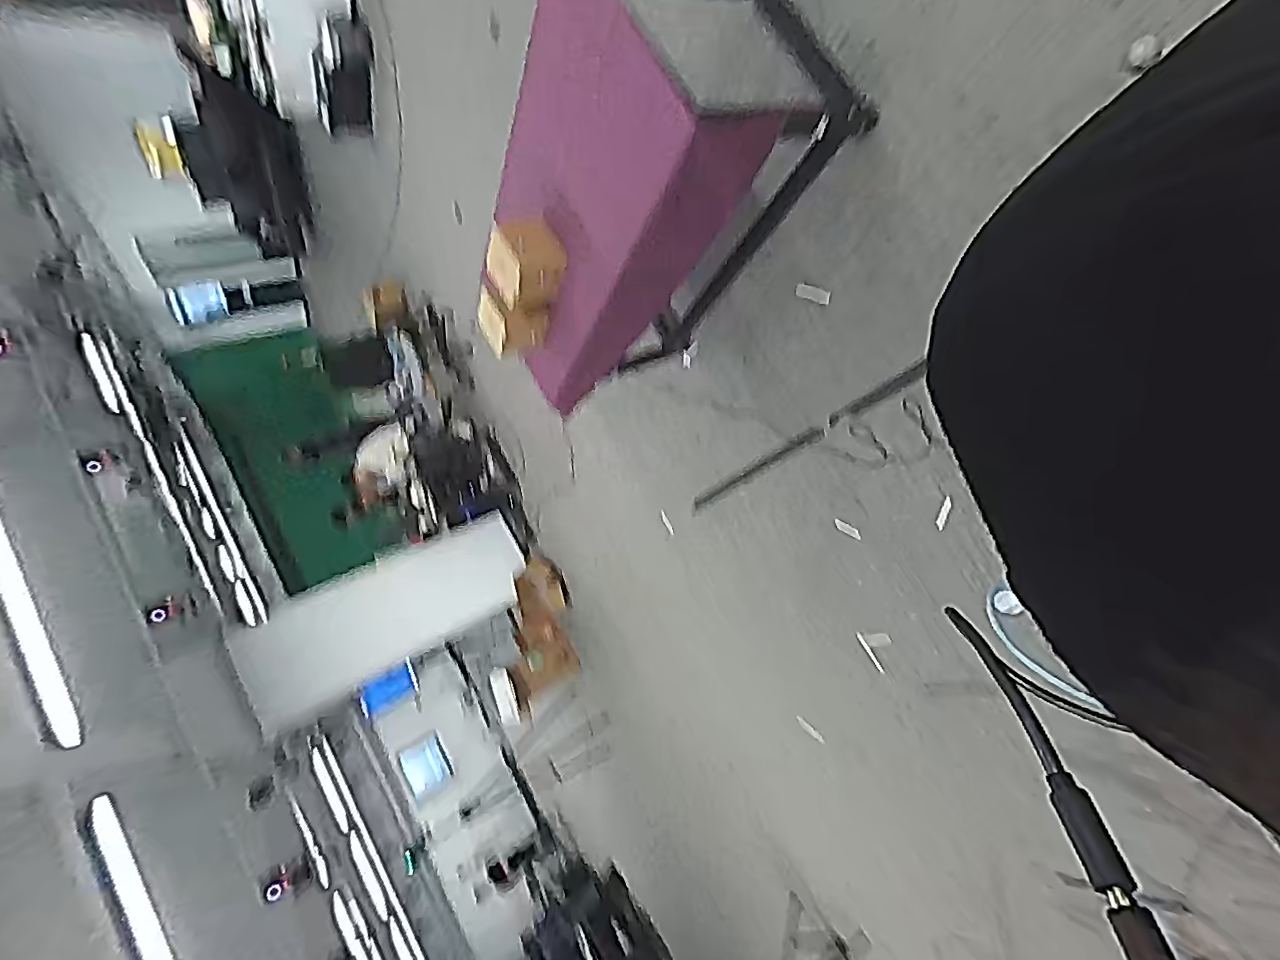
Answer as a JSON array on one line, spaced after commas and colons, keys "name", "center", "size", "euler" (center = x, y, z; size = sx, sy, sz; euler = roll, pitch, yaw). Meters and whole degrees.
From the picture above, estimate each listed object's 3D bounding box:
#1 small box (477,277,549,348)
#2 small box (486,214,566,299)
[{"name": "small box", "center": [-0.441, -0.590, 1.878], "size": [0.179, 0.176, 0.168], "euler": [58, 149, 10]}, {"name": "small box", "center": [-0.351, -0.695, 1.669], "size": [0.179, 0.176, 0.168], "euler": [59, 148, 9]}]
